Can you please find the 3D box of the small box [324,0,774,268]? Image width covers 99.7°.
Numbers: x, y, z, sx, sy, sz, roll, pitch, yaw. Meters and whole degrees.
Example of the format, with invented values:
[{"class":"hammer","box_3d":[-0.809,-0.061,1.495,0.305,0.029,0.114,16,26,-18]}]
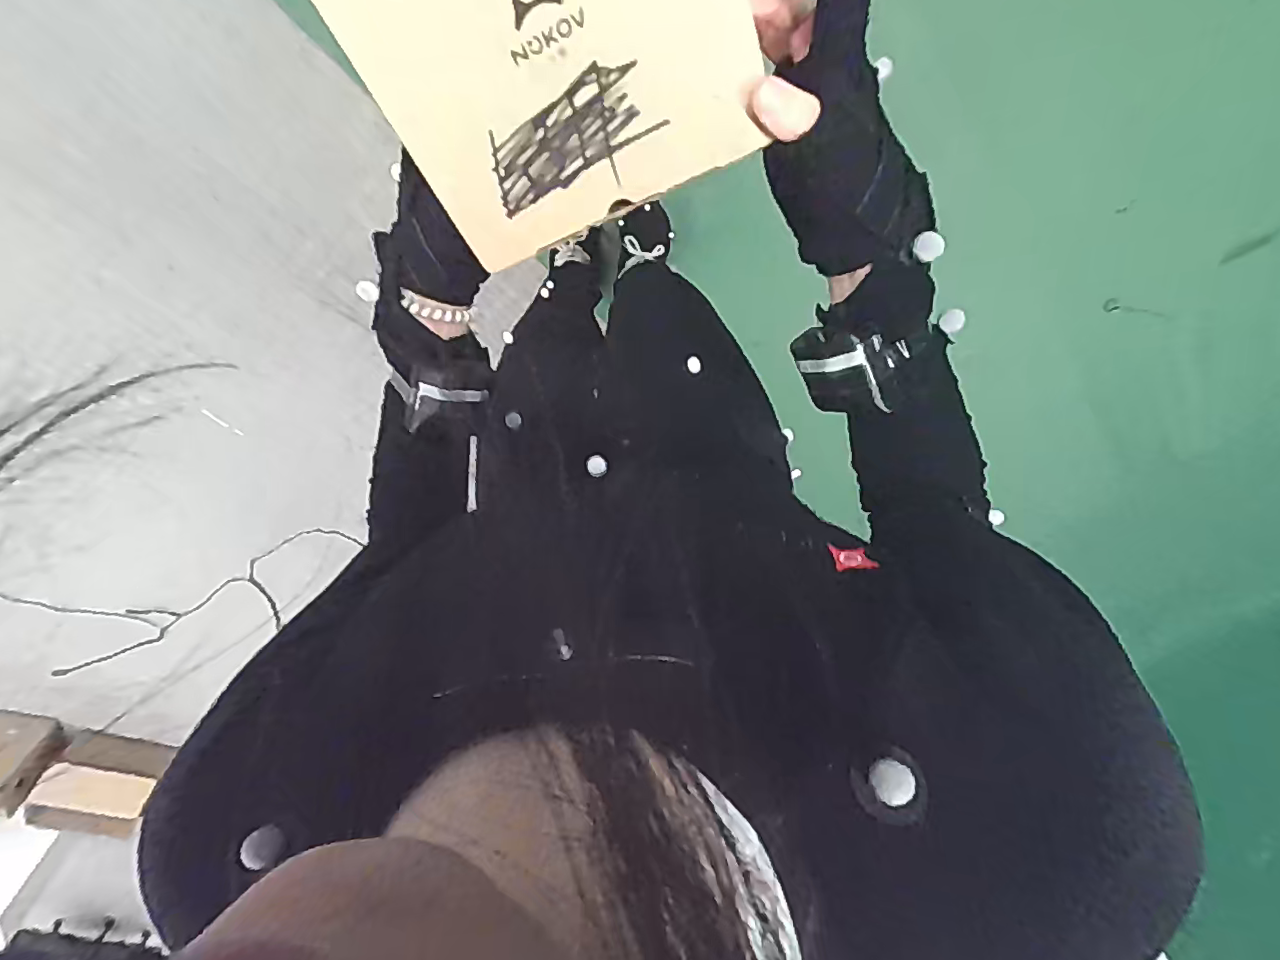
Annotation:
[{"class":"small box","box_3d":[-0.039,-0.251,0.282,0.168,0.176,0.179,-16,131,17]}]
